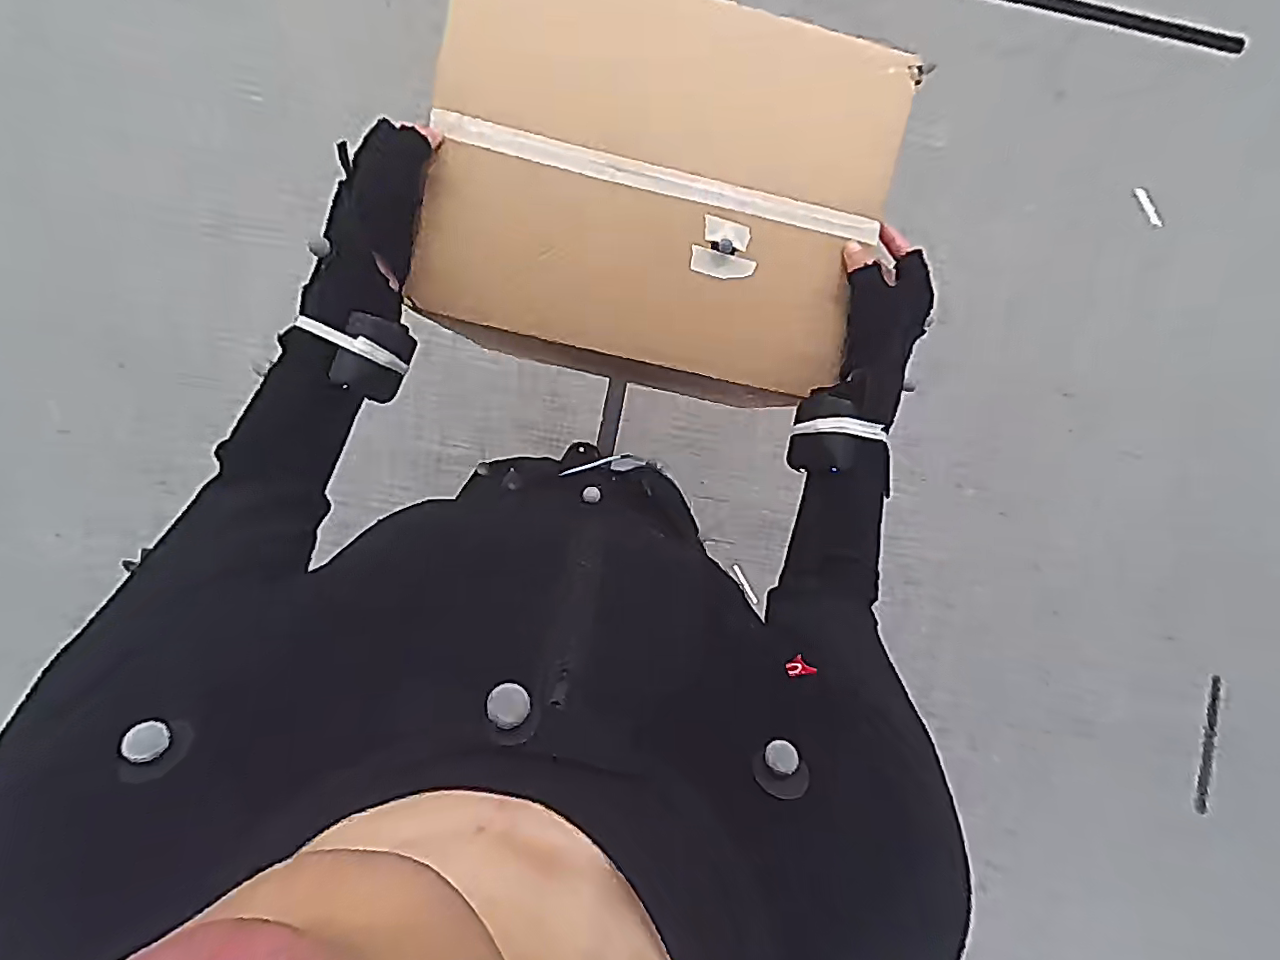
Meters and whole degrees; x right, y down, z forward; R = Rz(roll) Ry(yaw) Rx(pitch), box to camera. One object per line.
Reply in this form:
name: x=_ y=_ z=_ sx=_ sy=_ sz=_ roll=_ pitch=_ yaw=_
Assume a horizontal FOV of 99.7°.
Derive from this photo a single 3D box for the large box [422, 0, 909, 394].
large box: x=0.012 y=-0.296 z=0.639 sx=0.408 sy=0.320 sz=0.320 roll=12 pitch=98 yaw=-6
